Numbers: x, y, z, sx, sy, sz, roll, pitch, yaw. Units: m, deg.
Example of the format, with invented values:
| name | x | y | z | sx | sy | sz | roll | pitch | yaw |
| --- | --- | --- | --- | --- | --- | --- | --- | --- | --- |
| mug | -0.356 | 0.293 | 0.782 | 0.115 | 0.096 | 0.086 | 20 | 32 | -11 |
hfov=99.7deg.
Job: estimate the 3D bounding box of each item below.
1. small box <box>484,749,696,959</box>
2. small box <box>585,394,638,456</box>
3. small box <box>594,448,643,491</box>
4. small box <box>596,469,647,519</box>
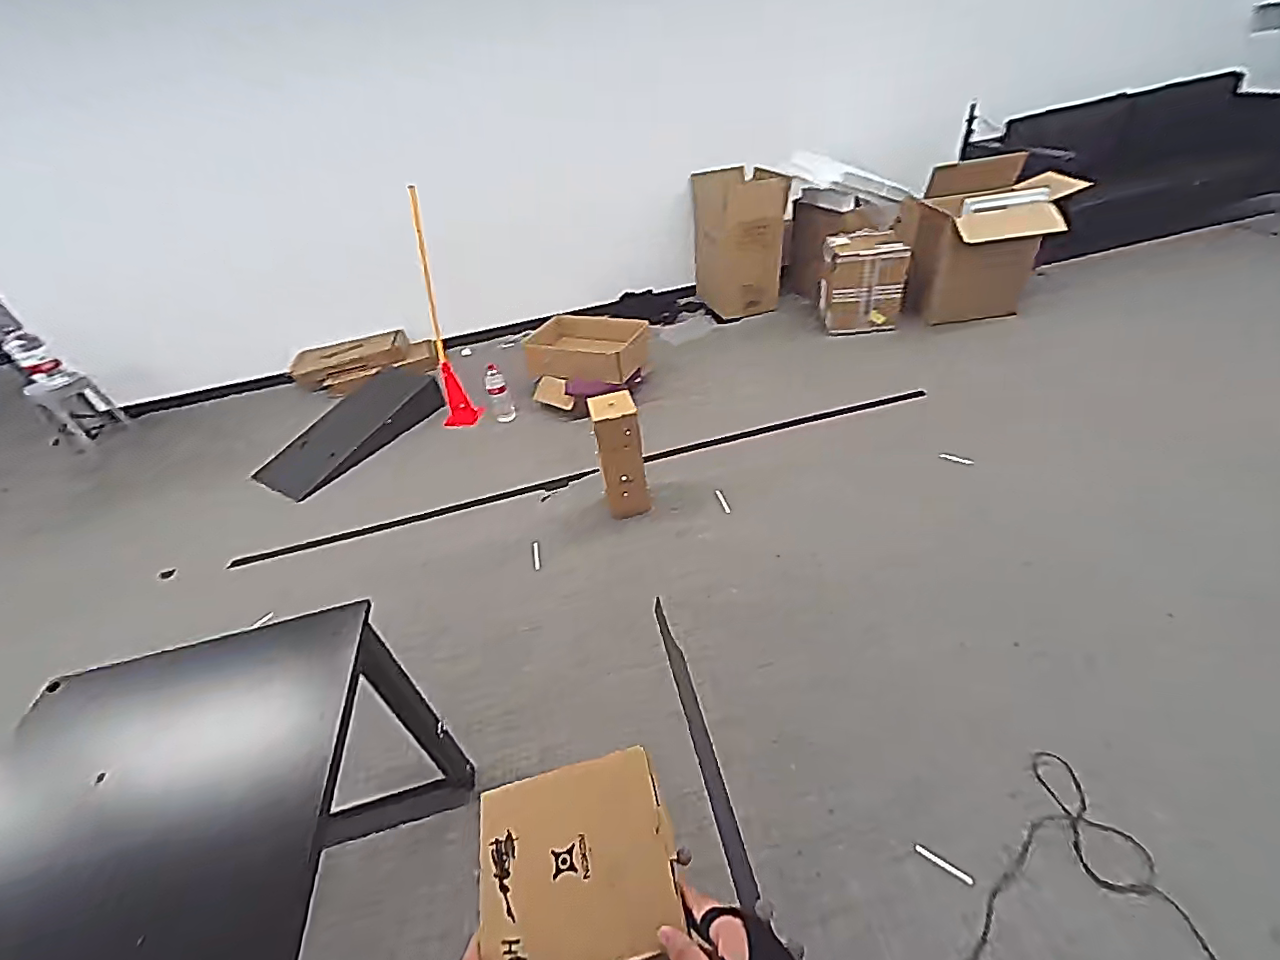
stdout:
| name | x | y | z | sx | sy | sz | roll | pitch | yaw |
| --- | --- | --- | --- | --- | --- | --- | --- | --- | --- |
| small box | -0.047 | 0.406 | 0.545 | 0.179 | 0.176 | 0.168 | -14 | 41 | -4 |
| small box | -0.110 | -0.208 | 2.094 | 0.168 | 0.176 | 0.179 | -13 | 38 | -7 |
| small box | -0.092 | -0.080 | 2.193 | 0.168 | 0.176 | 0.179 | -13 | 39 | -6 |
| small box | -0.077 | 0.044 | 2.299 | 0.179 | 0.176 | 0.168 | -13 | 39 | -6 |
